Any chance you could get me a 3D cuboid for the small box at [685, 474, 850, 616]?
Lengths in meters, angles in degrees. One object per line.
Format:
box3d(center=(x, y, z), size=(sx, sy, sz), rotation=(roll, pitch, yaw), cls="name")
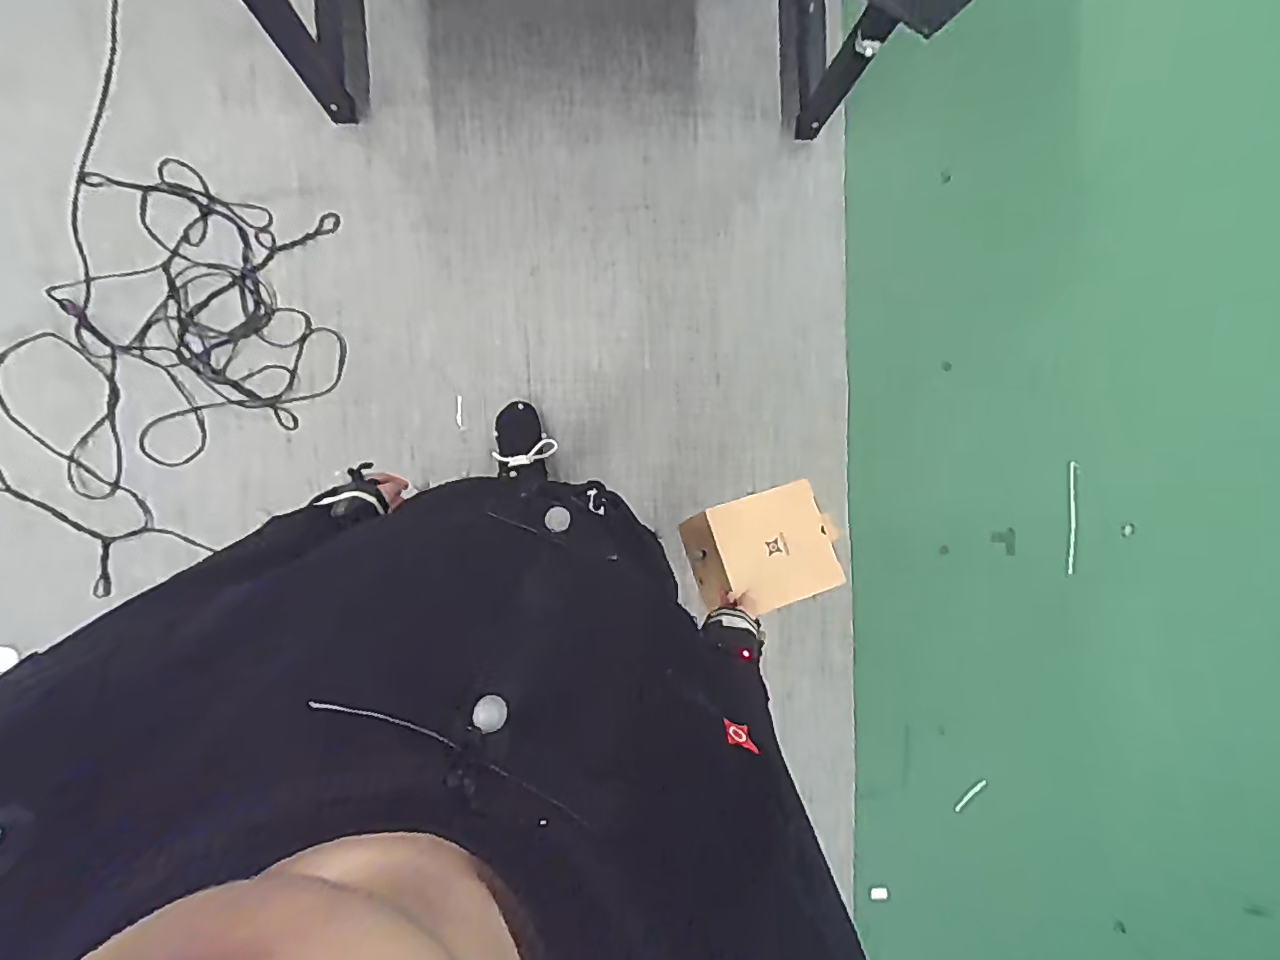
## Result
box3d(center=(0.183, 0.107, 0.842), size=(0.179, 0.176, 0.168), rotation=(-17, 80, -14), cls="small box")
